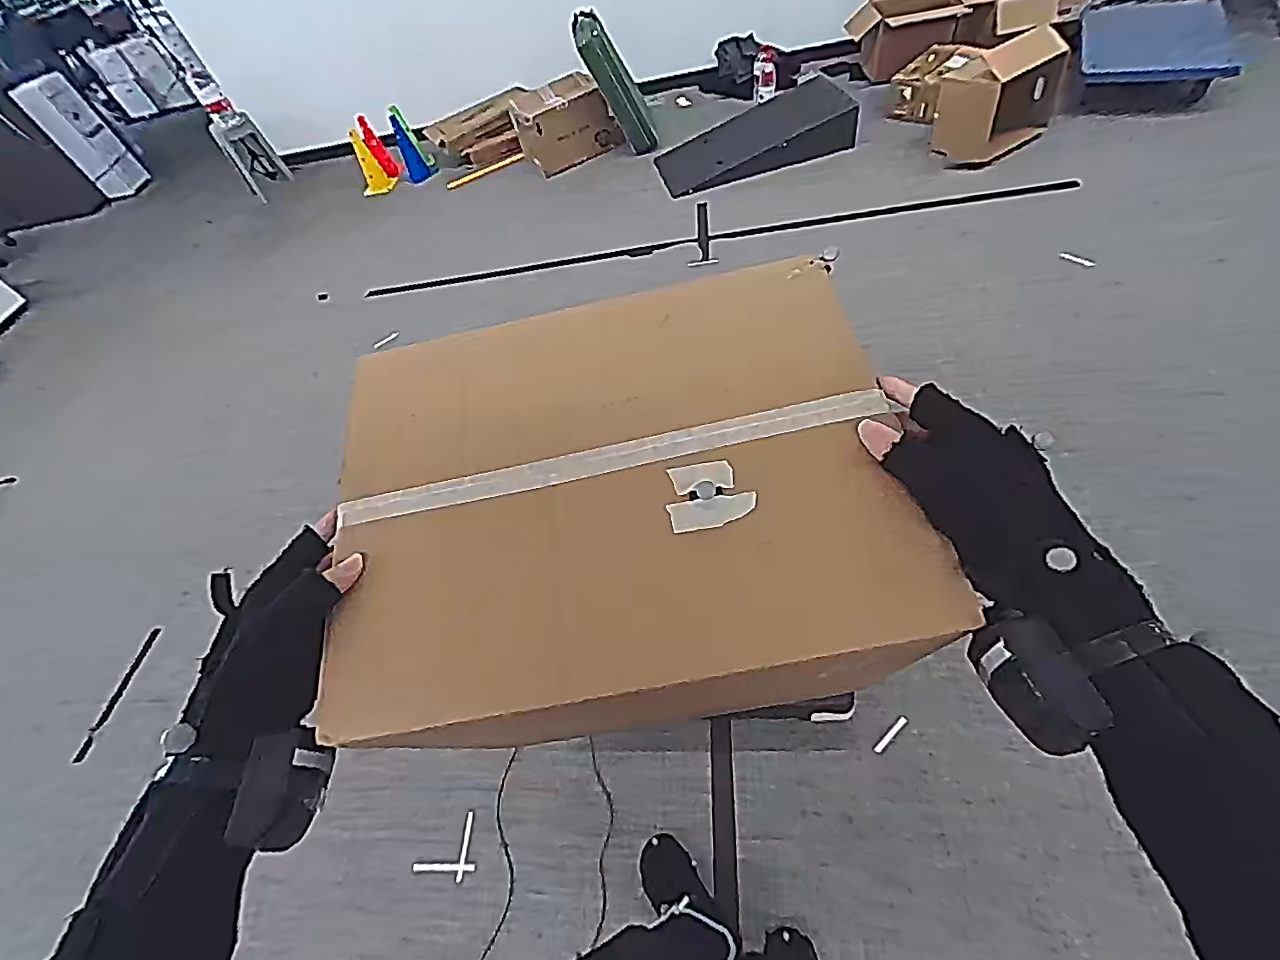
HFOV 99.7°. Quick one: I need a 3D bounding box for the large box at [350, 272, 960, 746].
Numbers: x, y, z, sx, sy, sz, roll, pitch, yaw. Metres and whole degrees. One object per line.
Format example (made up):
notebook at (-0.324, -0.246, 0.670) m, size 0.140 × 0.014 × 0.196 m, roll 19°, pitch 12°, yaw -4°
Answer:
large box at (0.001, 0.059, 0.539) m, size 0.408 × 0.320 × 0.320 m, roll -12°, pitch 63°, yaw 3°
